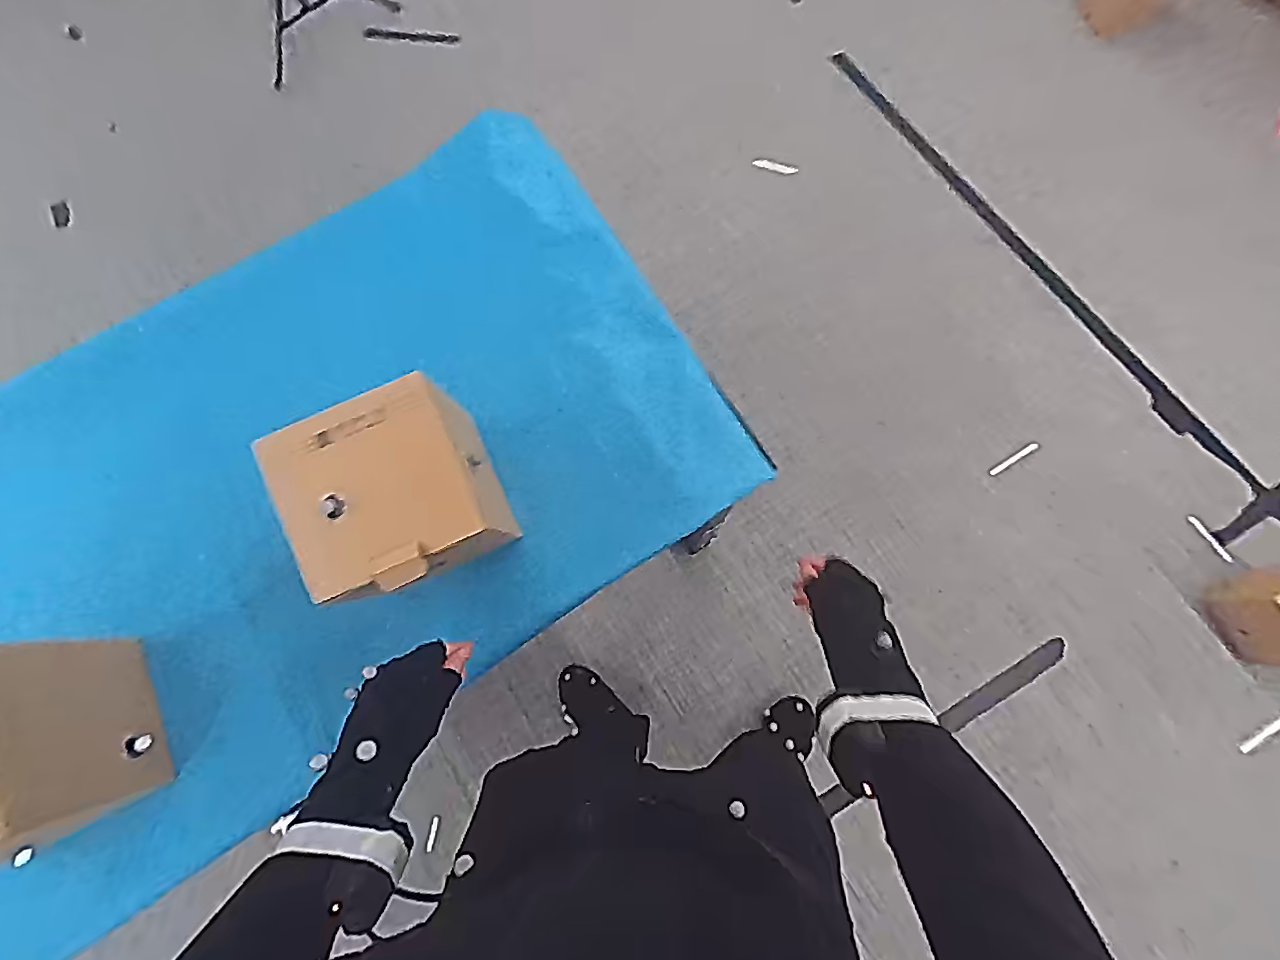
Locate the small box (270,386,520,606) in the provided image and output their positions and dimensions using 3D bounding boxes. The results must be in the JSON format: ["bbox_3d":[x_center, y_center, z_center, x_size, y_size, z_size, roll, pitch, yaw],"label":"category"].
[{"bbox_3d":[-0.250,0.017,0.582,0.168,0.179,0.176,-24,84,-5],"label":"small box"}]

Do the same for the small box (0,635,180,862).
[{"bbox_3d":[-0.626,0.275,0.539,0.168,0.176,0.179,-27,77,-6],"label":"small box"}]

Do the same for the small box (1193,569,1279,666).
[{"bbox_3d":[1.454,0.310,1.233,0.168,0.176,0.179,-27,78,-6],"label":"small box"}]
